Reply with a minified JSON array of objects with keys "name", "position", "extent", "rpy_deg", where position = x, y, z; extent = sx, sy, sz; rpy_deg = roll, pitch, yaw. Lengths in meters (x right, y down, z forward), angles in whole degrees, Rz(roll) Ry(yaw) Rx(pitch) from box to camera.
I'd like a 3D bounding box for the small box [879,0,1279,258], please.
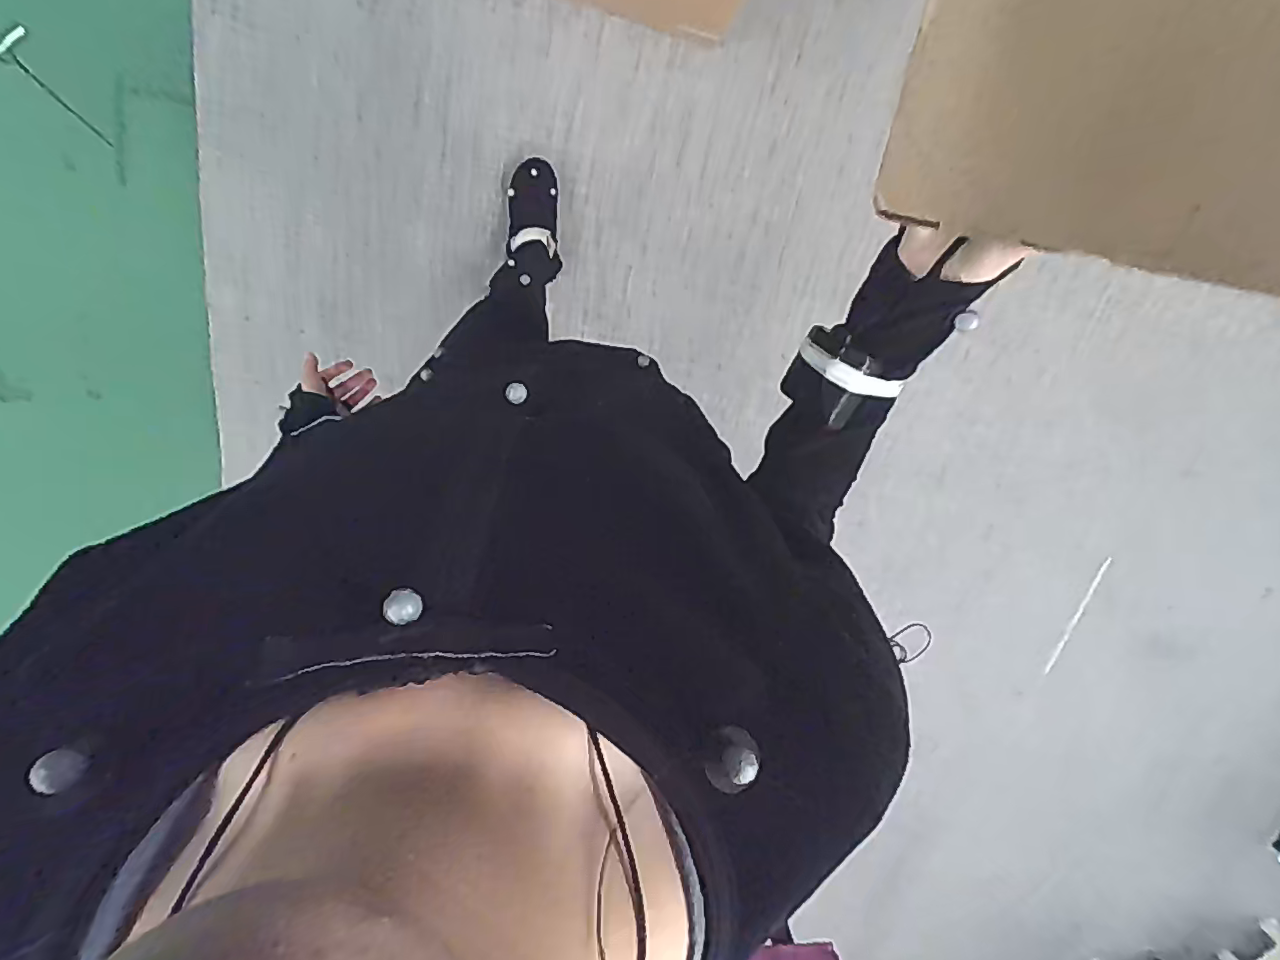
[{"name":"small box","position":[0.218,-0.181,0.176],"extent":[0.179,0.168,0.176],"rpy_deg":[-24,135,-31]}]
